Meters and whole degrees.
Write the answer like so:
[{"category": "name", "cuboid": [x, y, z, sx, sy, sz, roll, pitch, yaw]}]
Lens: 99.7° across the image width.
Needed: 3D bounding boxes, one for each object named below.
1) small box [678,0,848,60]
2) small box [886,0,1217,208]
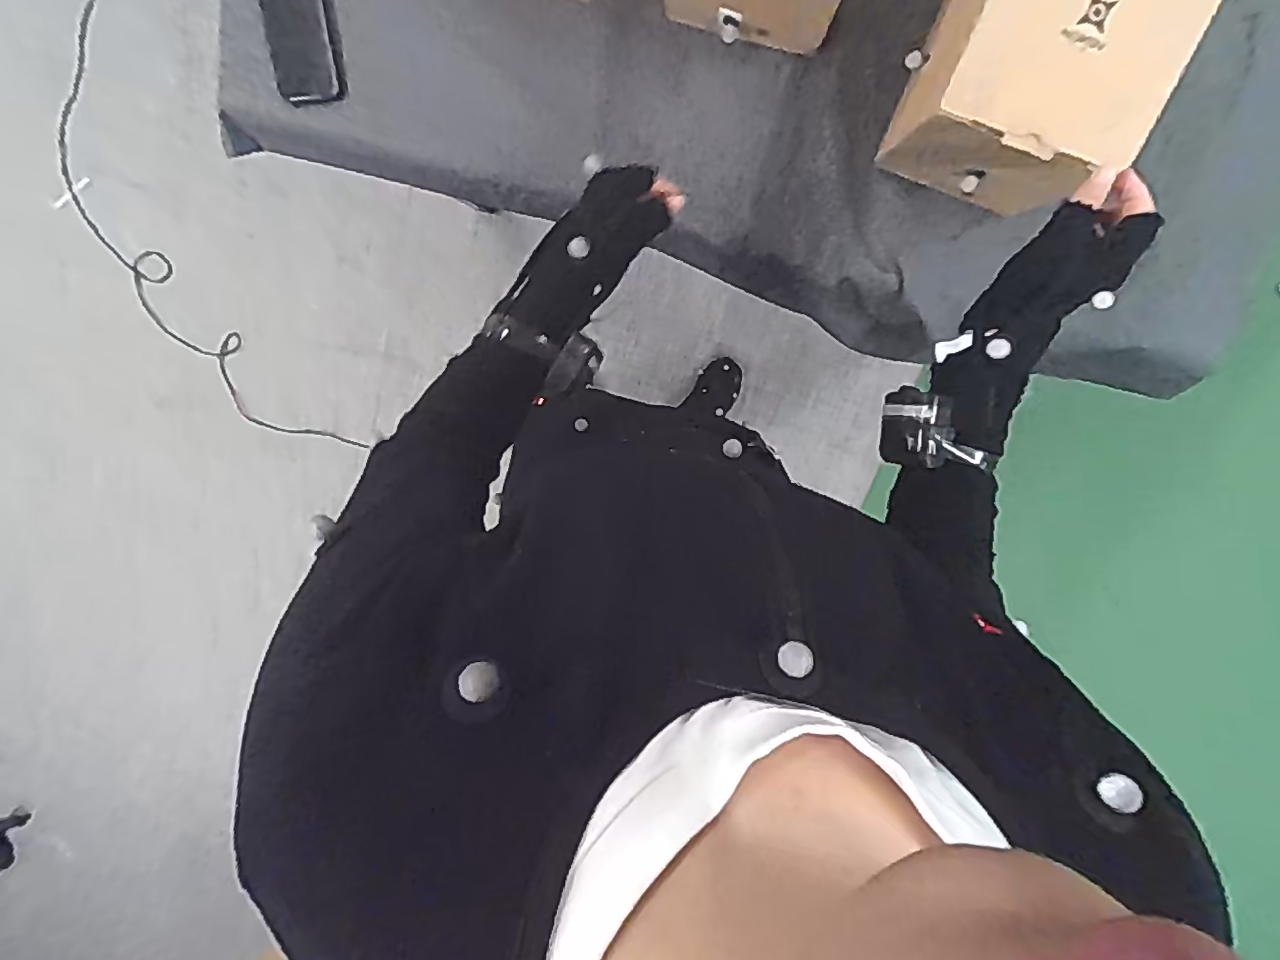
[{"category": "small box", "cuboid": [0.126, -0.529, 0.488, 0.168, 0.176, 0.179, 14, 109, 2]}, {"category": "small box", "cuboid": [0.359, -0.380, 0.506, 0.168, 0.176, 0.179, 20, 107, -2]}]
